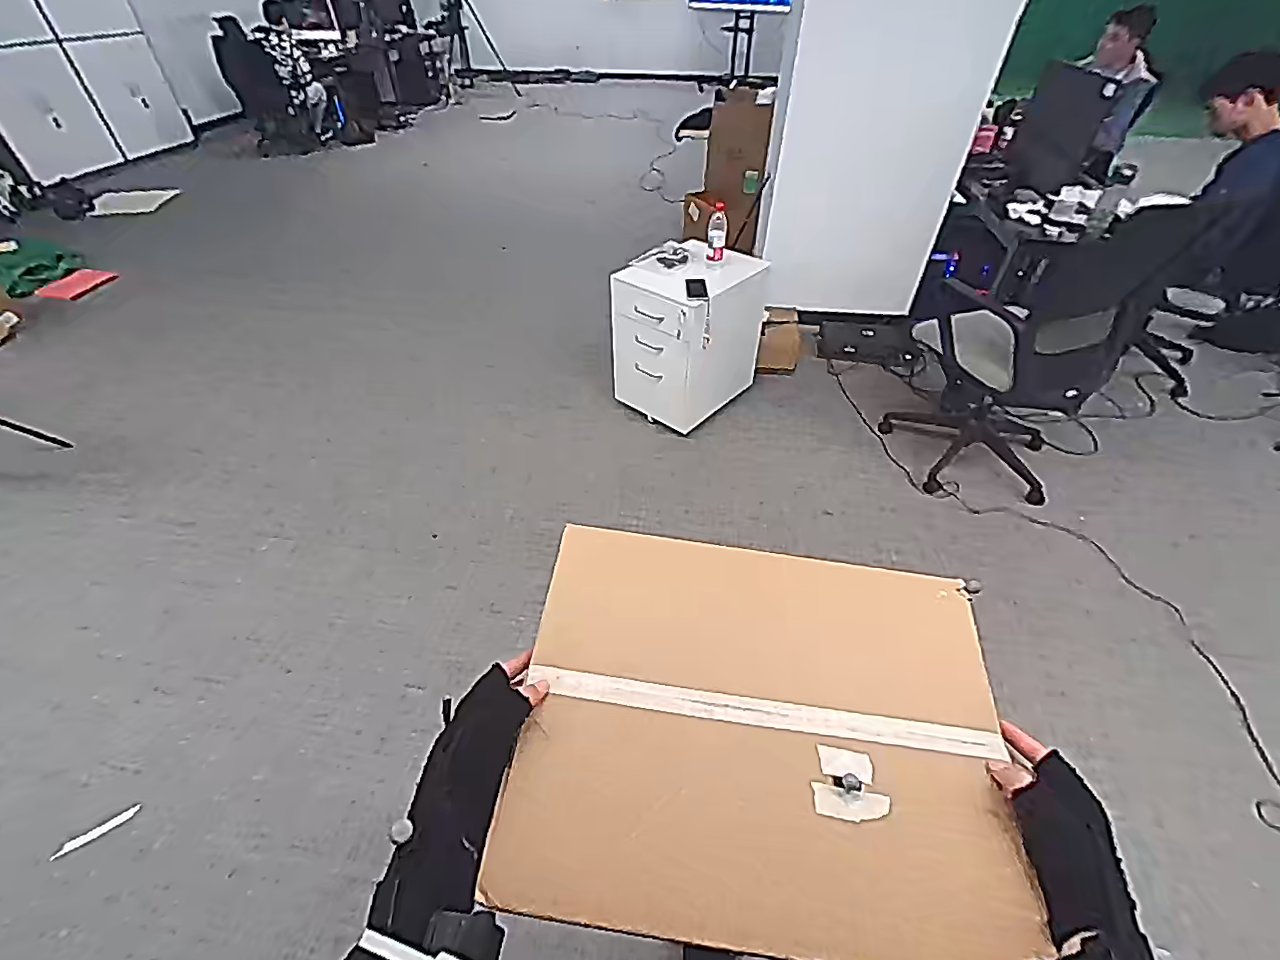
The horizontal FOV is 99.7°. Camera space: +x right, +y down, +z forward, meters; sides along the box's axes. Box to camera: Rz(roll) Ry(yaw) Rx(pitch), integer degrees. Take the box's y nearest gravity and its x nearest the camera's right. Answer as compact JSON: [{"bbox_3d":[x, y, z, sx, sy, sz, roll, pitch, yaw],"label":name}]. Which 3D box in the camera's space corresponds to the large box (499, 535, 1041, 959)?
[{"bbox_3d":[0.098,0.289,0.595,0.408,0.320,0.320,8,55,1],"label":"large box"}]
